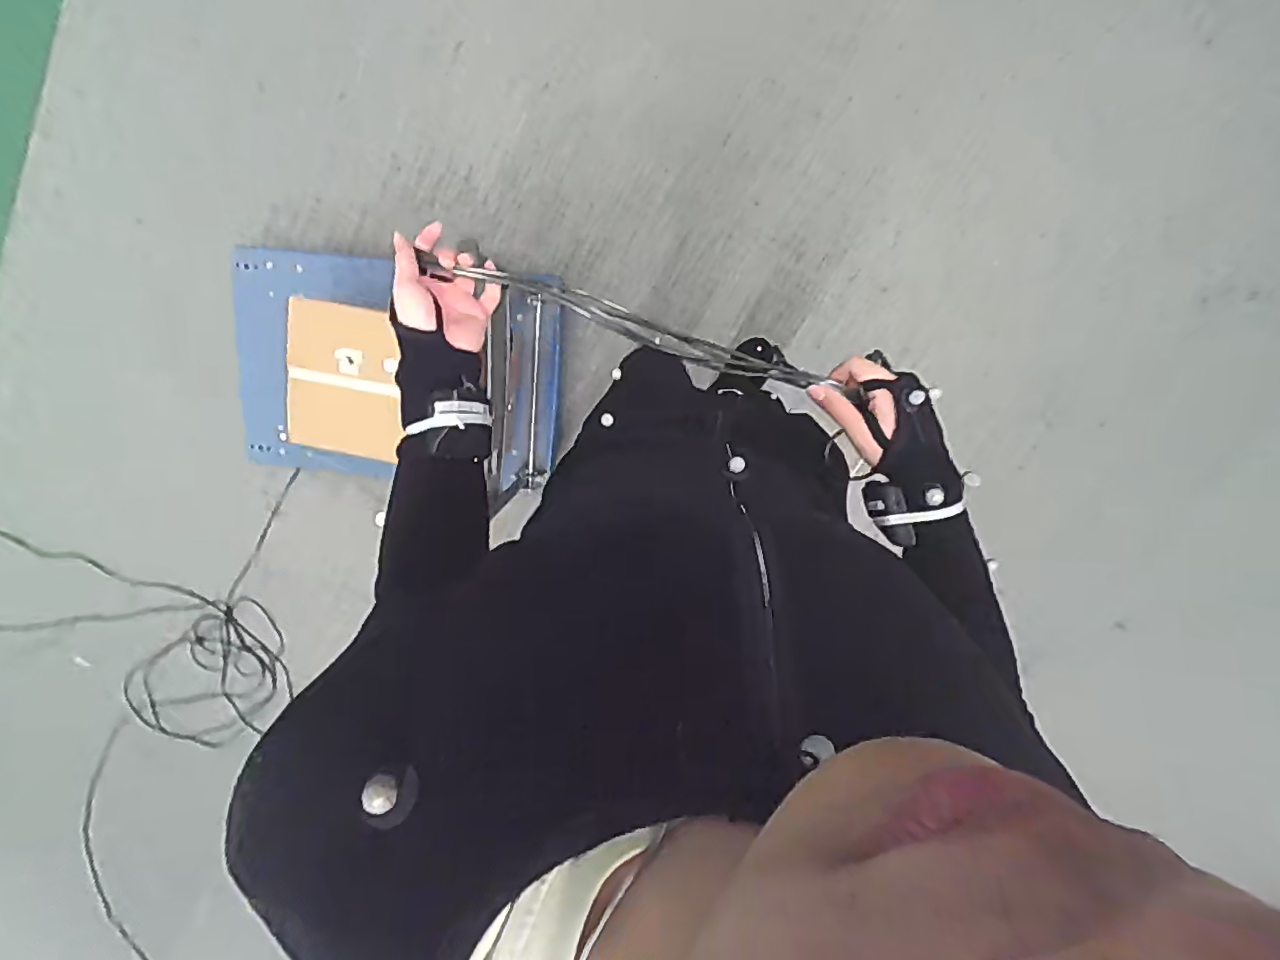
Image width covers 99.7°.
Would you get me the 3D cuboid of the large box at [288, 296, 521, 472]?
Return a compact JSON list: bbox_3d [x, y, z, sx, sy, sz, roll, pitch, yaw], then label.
[{"bbox_3d":[-0.525,-0.232,1.268,0.408,0.320,0.320,11,104,2],"label":"large box"}]
